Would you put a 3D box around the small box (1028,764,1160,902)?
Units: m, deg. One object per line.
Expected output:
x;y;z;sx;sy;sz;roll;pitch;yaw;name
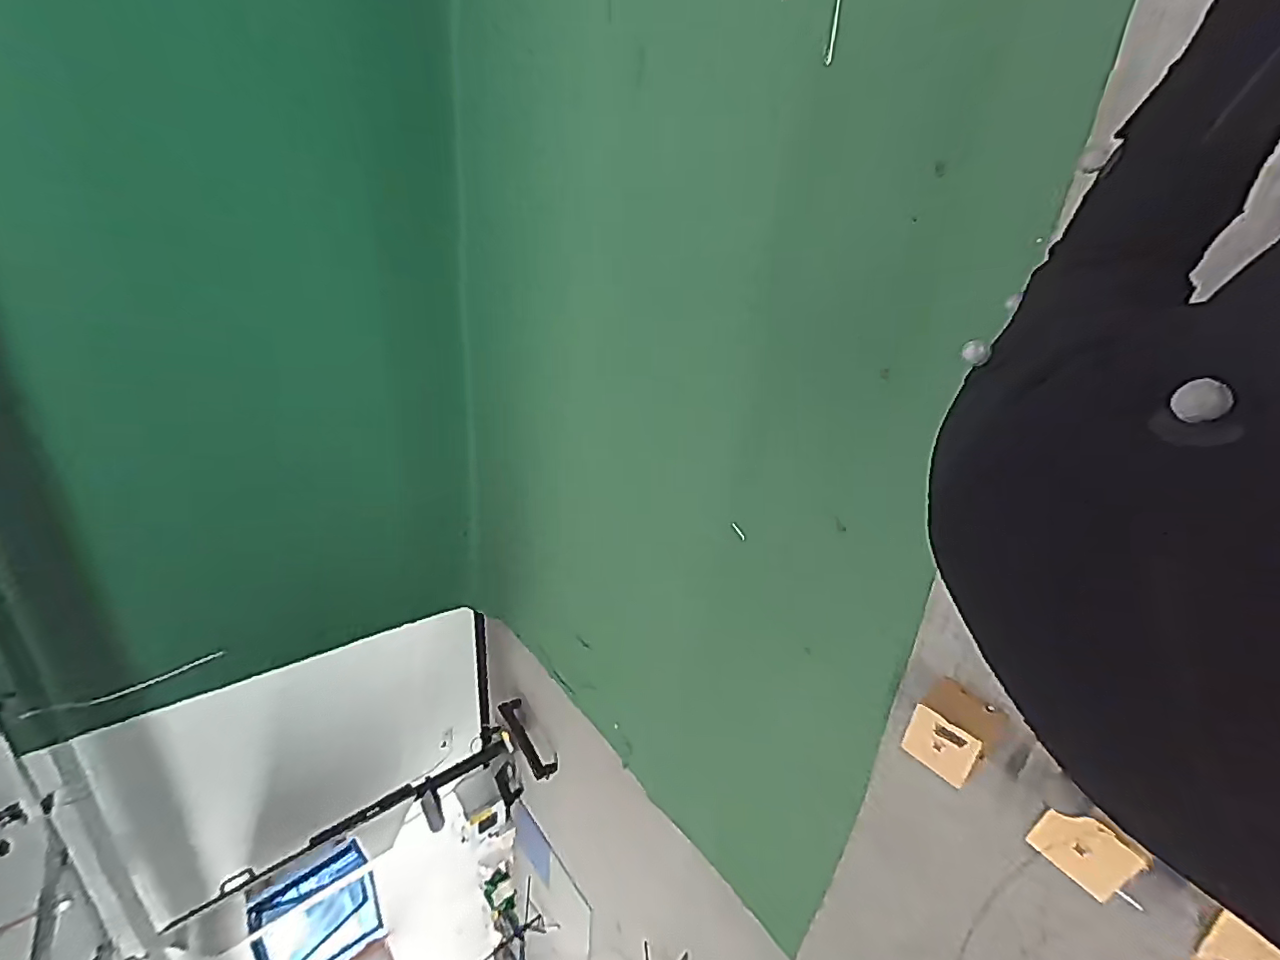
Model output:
1.058;0.813;1.258;0.168;0.176;0.179;35;126;40;small box

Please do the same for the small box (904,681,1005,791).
0.857;0.685;1.471;0.168;0.176;0.179;30;124;43;small box

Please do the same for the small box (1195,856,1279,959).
1.239;0.900;1.055;0.168;0.176;0.179;24;117;44;small box
